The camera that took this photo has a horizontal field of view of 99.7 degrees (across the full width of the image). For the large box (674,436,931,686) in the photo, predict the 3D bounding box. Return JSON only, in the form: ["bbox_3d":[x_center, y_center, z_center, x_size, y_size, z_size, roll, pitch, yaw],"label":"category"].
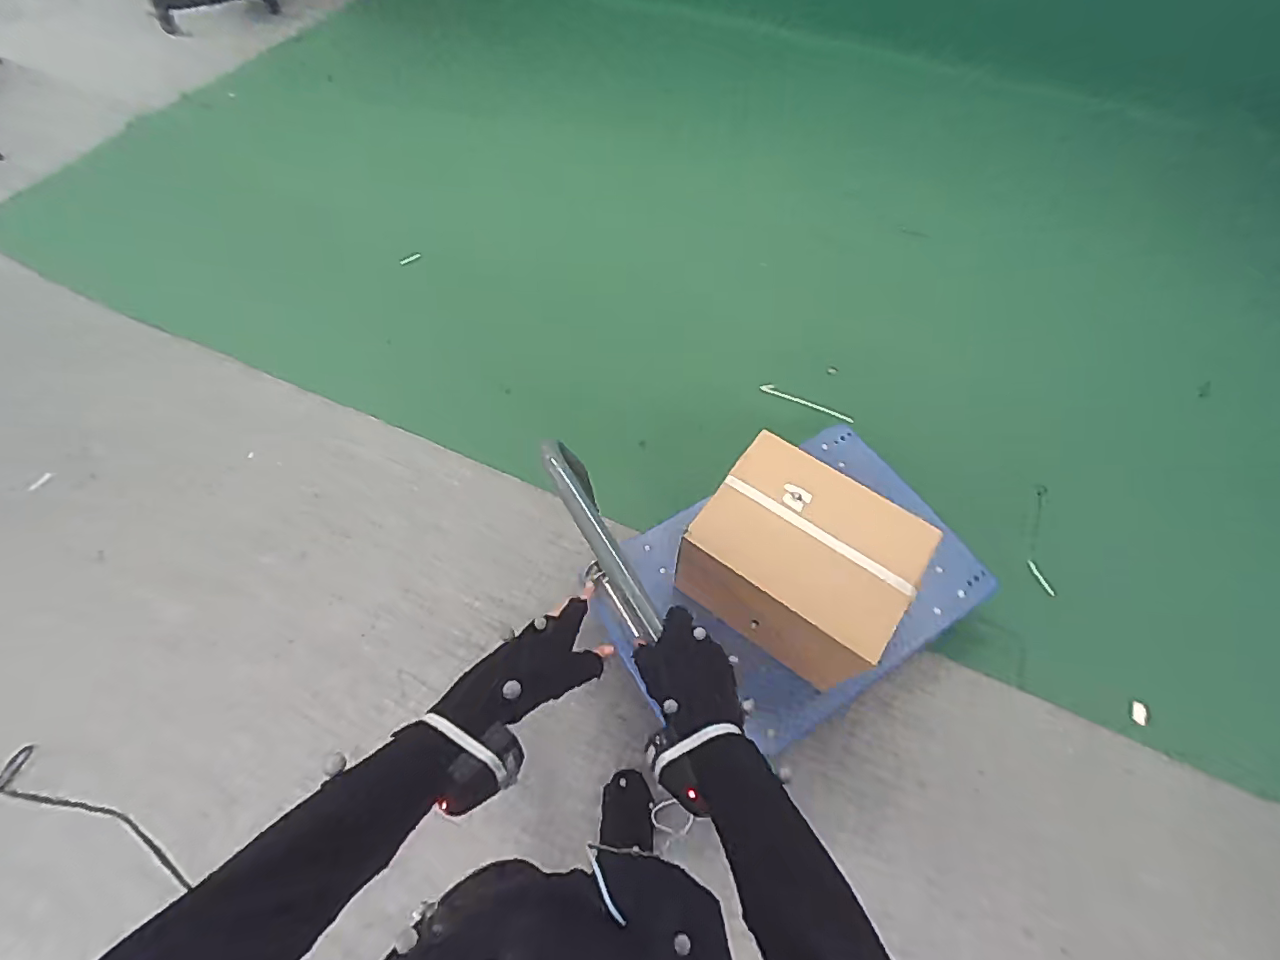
[{"bbox_3d":[0.325,0.182,1.182,0.408,0.320,0.320,33,65,18],"label":"large box"}]
